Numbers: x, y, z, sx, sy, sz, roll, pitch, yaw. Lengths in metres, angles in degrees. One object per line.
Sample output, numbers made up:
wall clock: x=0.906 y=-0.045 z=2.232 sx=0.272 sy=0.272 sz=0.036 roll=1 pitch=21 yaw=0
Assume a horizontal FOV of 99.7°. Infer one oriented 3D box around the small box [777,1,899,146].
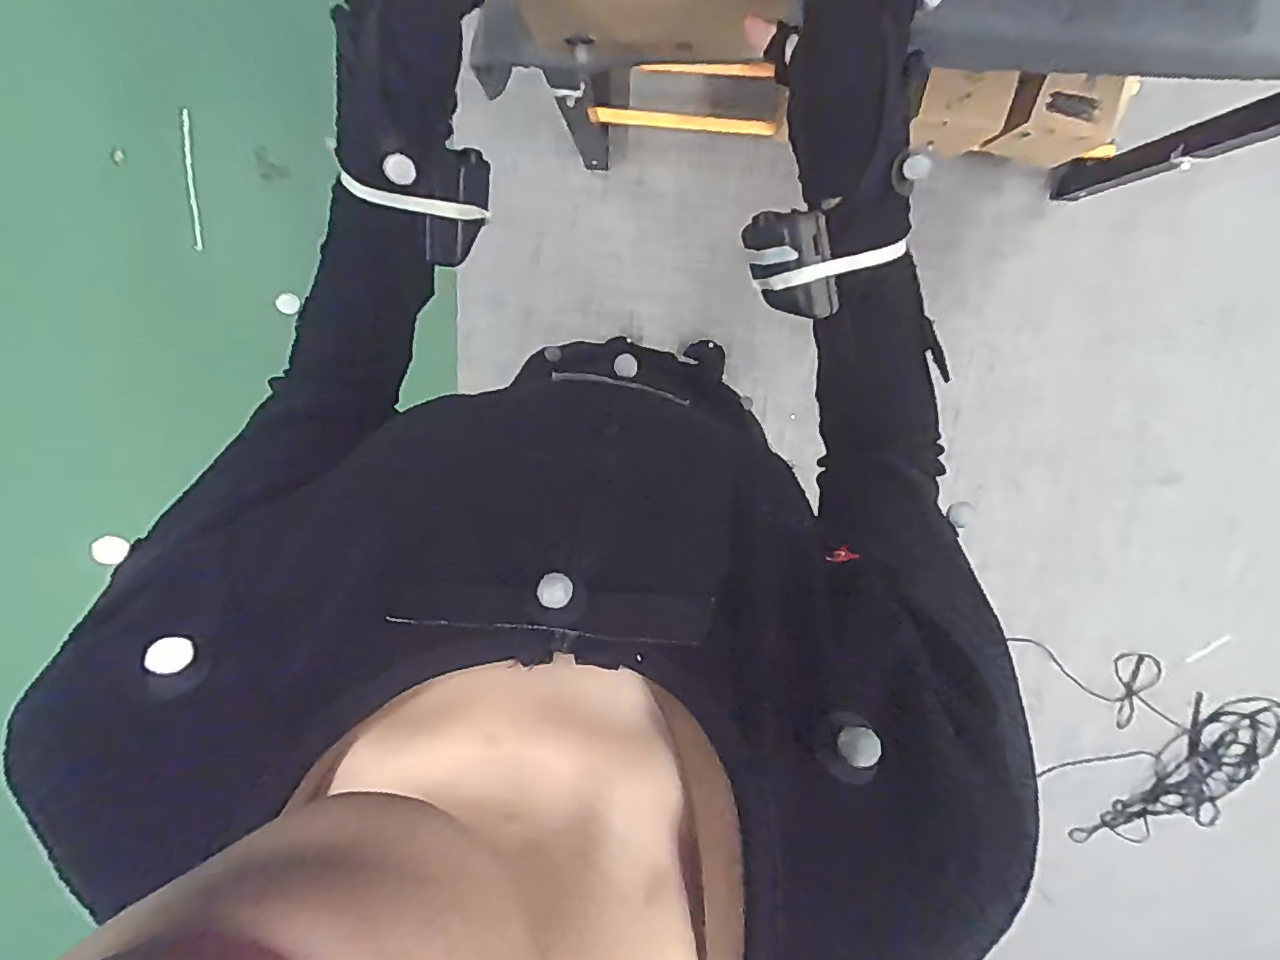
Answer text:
small box: x=0.380 y=-0.796 z=1.076 sx=0.168 sy=0.176 sz=0.179 roll=6 pitch=108 yaw=0
